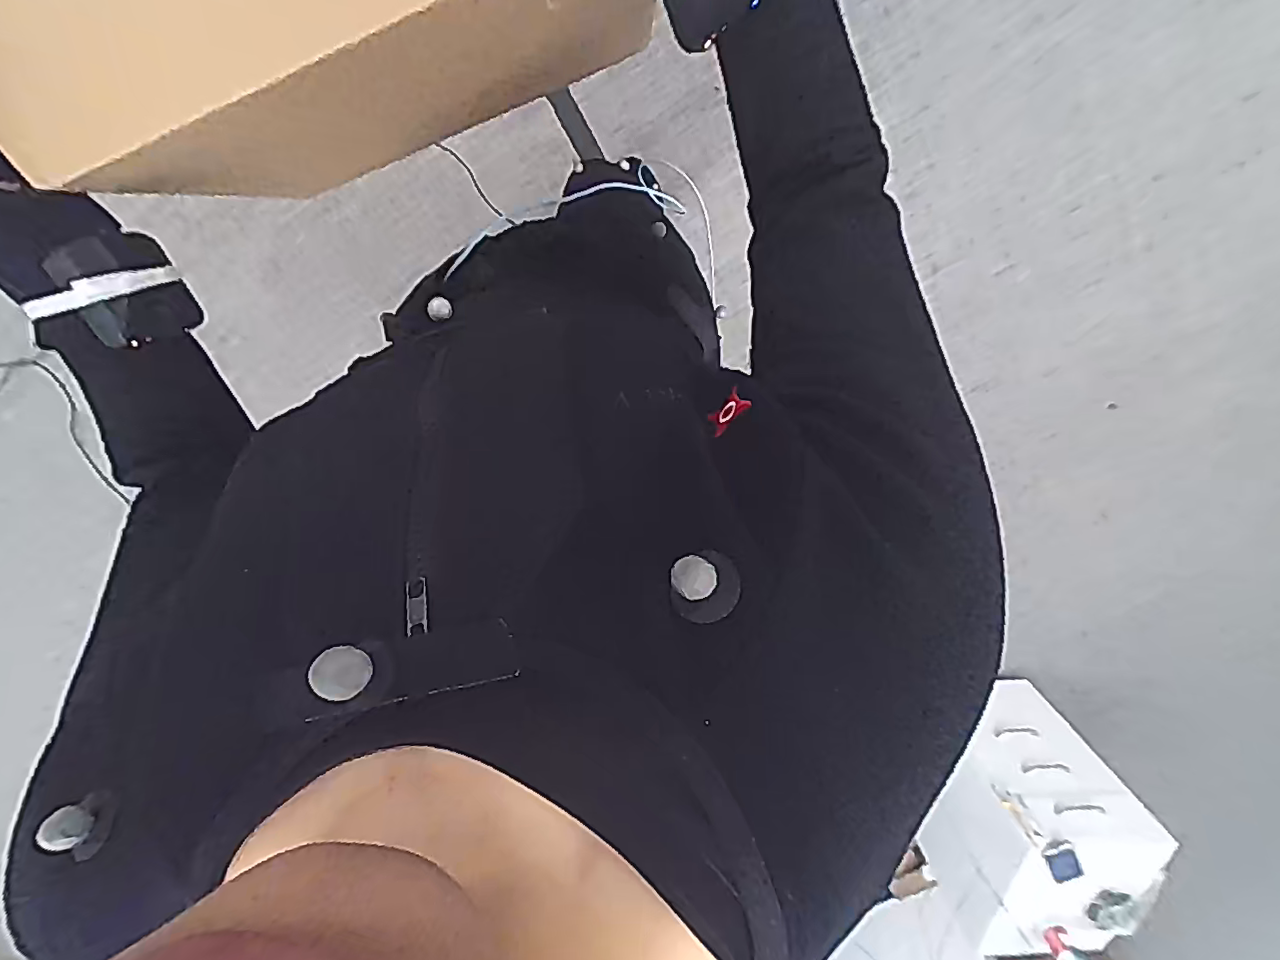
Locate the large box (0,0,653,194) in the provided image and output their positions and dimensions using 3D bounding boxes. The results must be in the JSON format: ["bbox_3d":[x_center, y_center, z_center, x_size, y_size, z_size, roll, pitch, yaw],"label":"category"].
[{"bbox_3d":[-0.222,-0.440,0.374,0.408,0.320,0.320,-20,116,7],"label":"large box"}]
